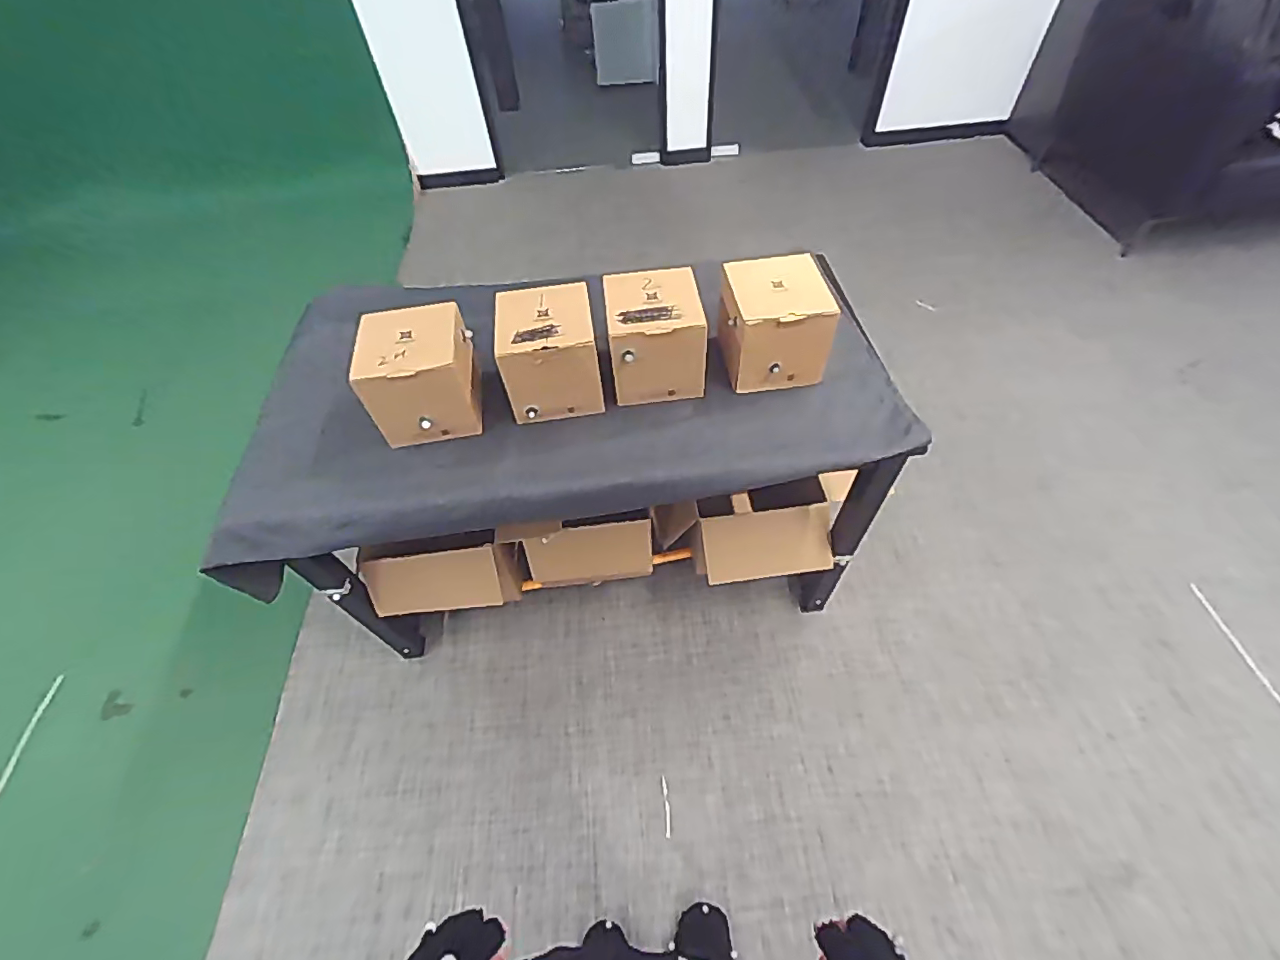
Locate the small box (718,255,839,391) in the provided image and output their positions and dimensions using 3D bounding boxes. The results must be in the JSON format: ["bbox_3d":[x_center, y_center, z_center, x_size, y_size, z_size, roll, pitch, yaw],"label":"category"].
[{"bbox_3d":[0.246,-0.291,1.012,0.168,0.176,0.179,-8,54,-2],"label":"small box"}]

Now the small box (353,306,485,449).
[{"bbox_3d":[-0.385,-0.182,0.974,0.168,0.176,0.179,-11,54,-4],"label":"small box"}]
